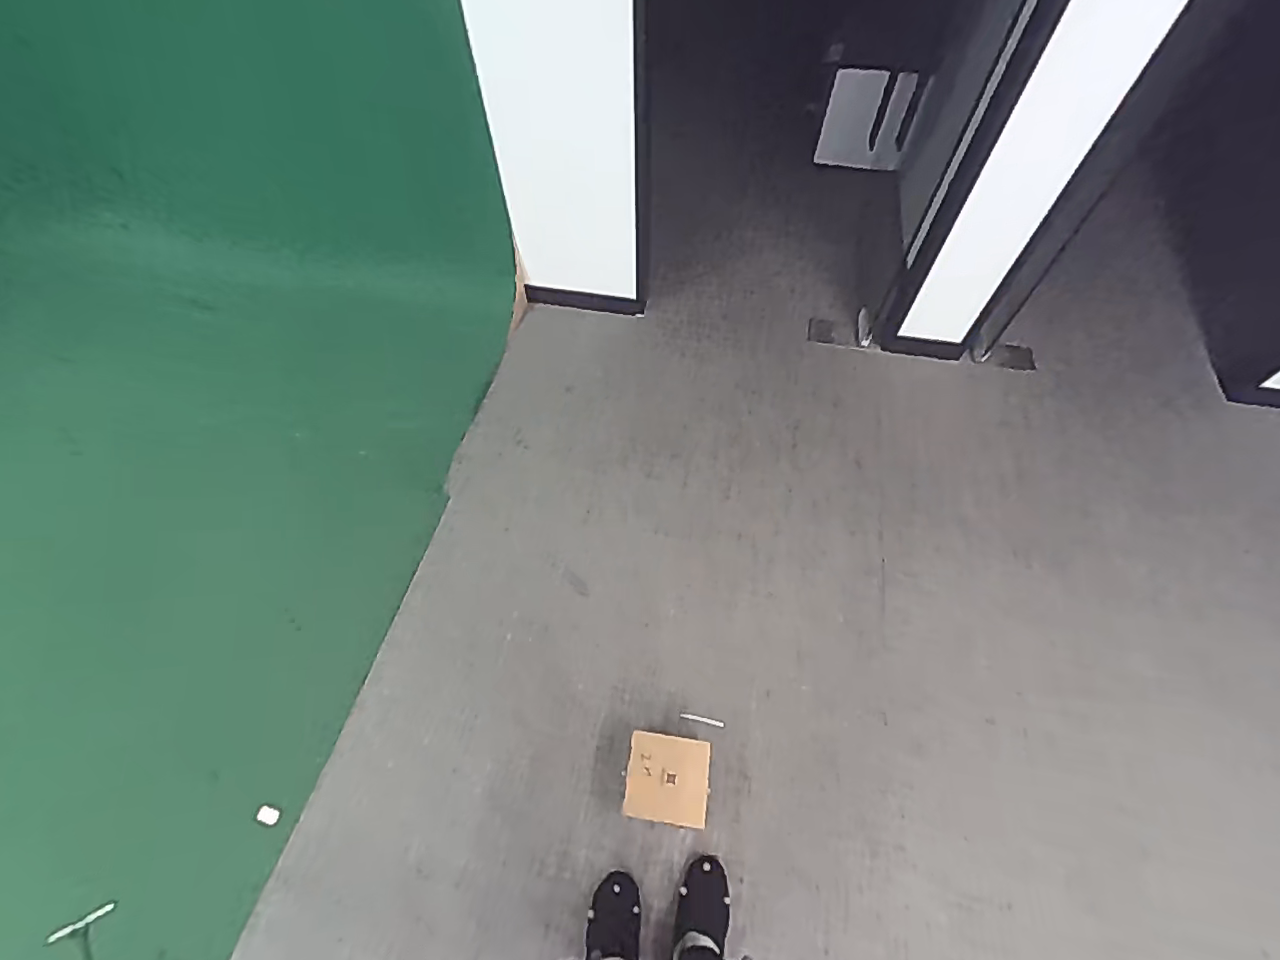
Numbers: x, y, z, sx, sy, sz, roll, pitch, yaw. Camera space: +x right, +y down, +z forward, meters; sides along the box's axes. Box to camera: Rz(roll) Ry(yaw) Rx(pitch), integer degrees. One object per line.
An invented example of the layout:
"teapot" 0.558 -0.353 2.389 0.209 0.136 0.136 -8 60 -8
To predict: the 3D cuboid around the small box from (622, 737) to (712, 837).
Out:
"small box" 0.061 0.691 1.217 0.179 0.176 0.168 7 57 6
